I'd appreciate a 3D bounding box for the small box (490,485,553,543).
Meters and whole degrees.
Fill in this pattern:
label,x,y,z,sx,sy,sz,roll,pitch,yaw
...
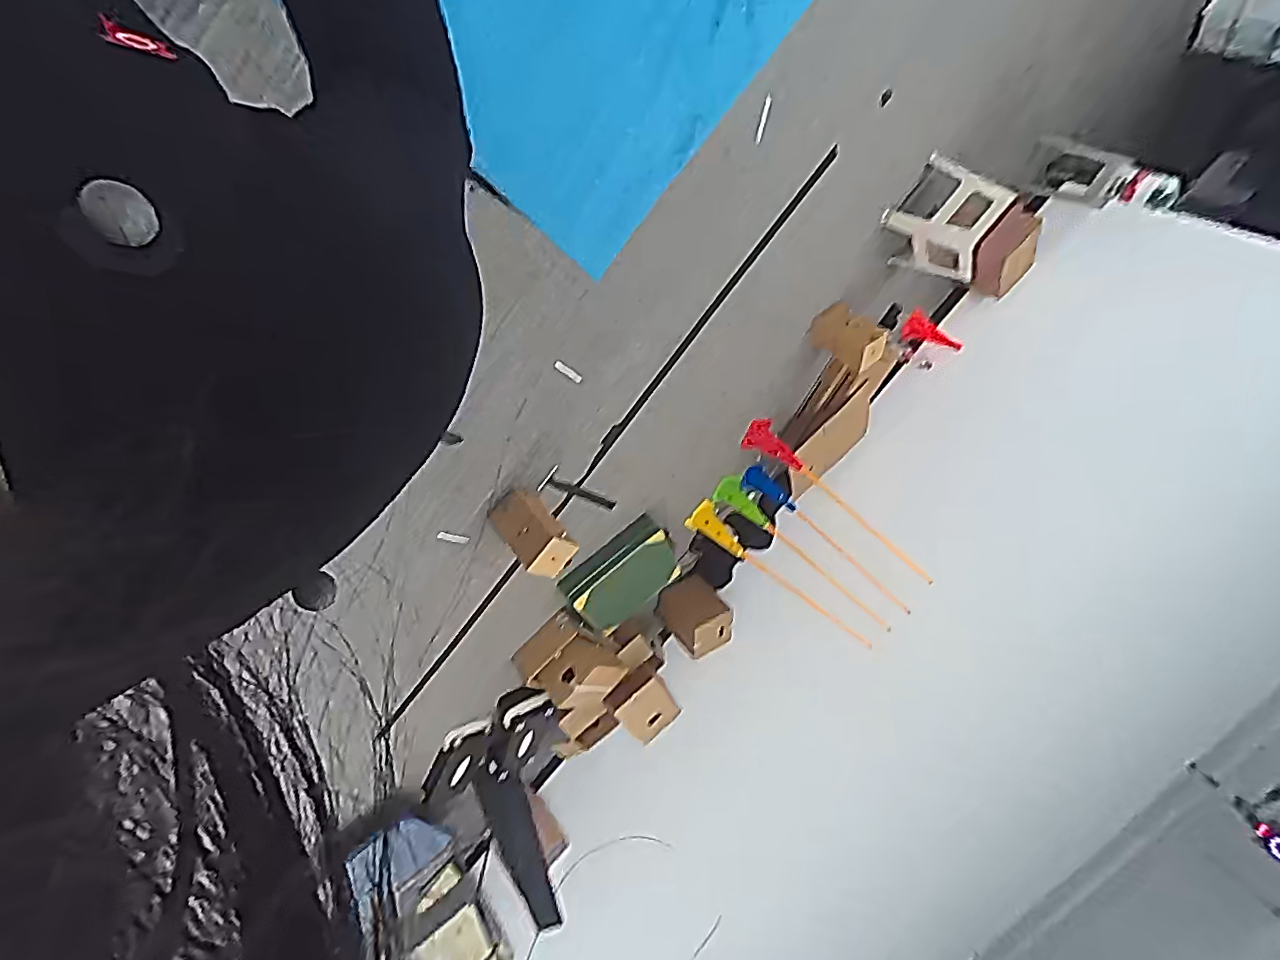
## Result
label,x,y,z,sx,sy,sz,roll,pitch,yaw
small box,-0.484,0.152,2.202,0.179,0.176,0.168,-48,148,6

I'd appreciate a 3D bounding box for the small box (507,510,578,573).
label,x,y,z,sx,sy,sz,roll,pitch,yaw
small box,-0.382,0.239,2.110,0.168,0.176,0.179,-50,146,5
